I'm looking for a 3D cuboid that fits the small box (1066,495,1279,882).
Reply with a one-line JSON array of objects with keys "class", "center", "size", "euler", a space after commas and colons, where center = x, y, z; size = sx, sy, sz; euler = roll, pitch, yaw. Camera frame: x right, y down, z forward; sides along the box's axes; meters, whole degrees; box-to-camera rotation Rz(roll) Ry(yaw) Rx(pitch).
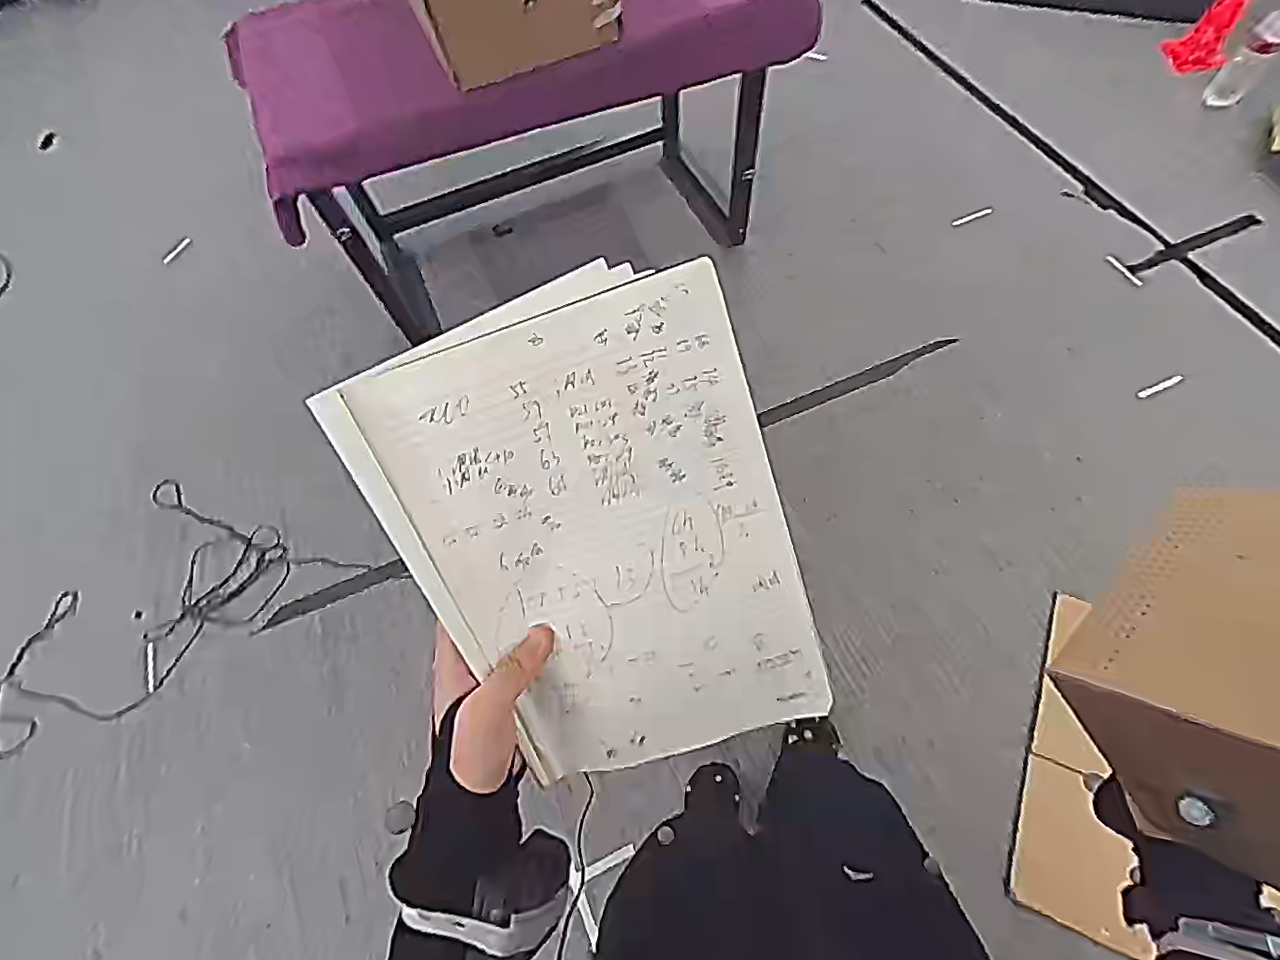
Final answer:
[{"class": "small box", "center": [0.395, 0.121, 0.300], "size": [0.179, 0.176, 0.168], "euler": [-43, 102, -12]}]
